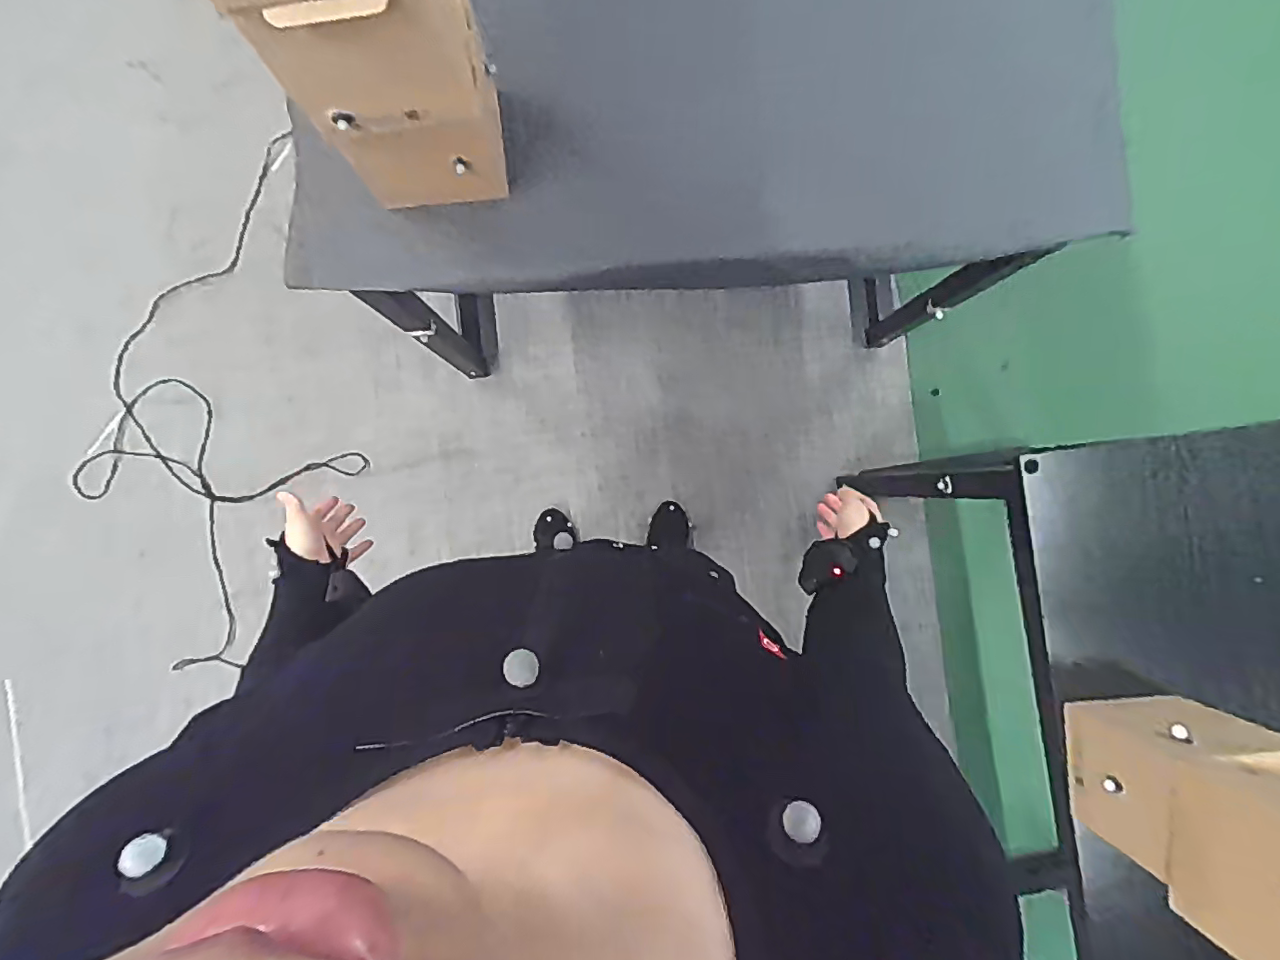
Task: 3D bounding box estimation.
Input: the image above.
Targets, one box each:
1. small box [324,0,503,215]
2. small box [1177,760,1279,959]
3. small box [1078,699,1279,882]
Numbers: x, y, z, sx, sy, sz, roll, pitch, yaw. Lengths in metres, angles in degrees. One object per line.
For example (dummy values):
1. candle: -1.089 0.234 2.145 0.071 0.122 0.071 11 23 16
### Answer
1. small box: -0.282 -0.469 0.696 0.179 0.176 0.168 -8 87 -1
2. small box: 0.699 0.414 0.541 0.168 0.176 0.179 5 89 -1
3. small box: 0.714 0.401 0.704 0.179 0.176 0.168 -3 90 -2
